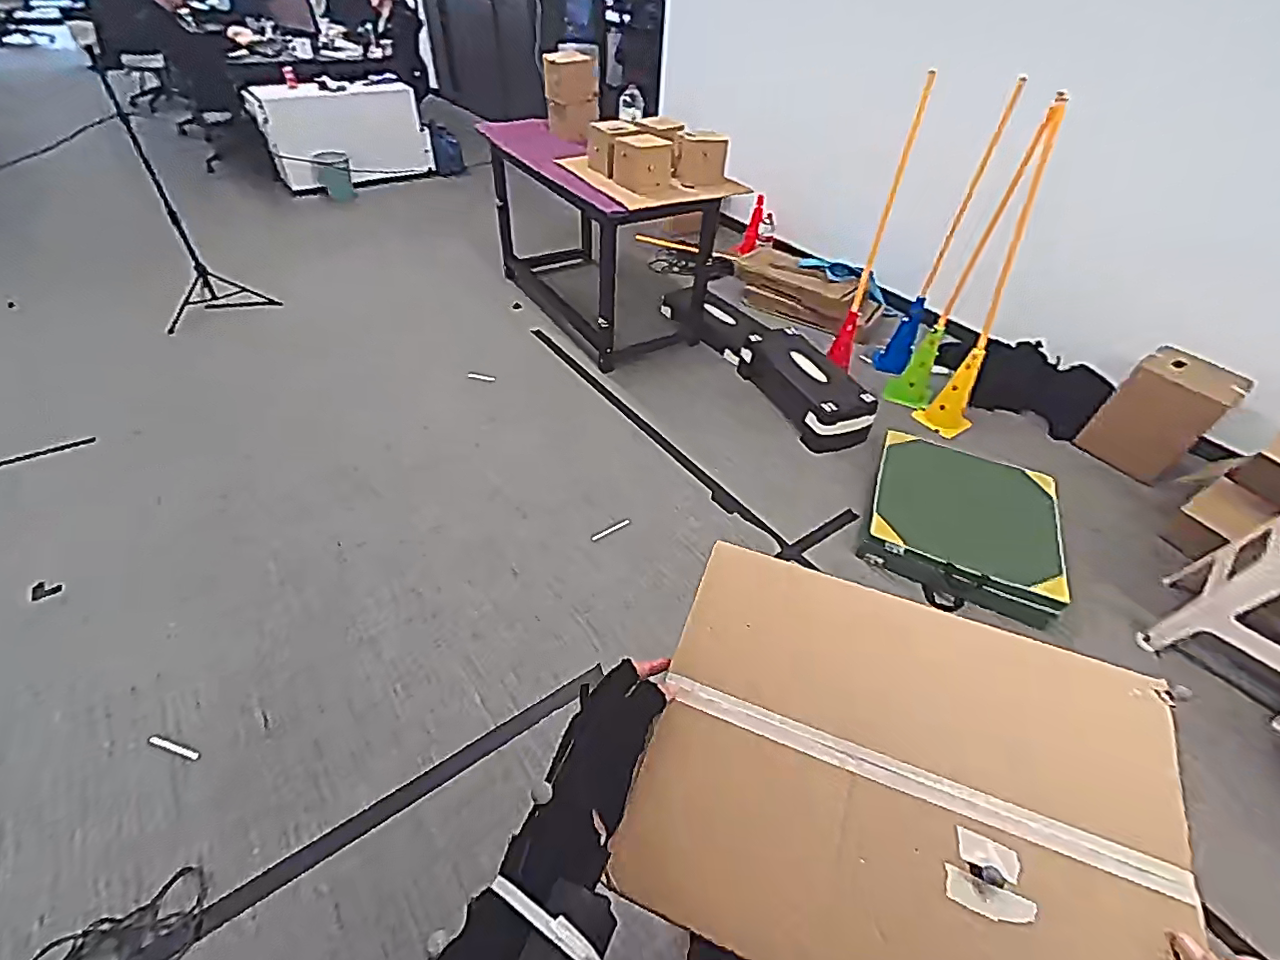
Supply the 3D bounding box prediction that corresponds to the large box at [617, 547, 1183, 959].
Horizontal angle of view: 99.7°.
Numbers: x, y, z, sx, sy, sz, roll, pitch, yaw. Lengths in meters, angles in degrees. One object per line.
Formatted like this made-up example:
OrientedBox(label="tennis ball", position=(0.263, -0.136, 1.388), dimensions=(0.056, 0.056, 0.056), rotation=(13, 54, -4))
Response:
OrientedBox(label="large box", position=(0.222, 0.325, 0.579), dimensions=(0.408, 0.320, 0.320), rotation=(17, 59, 14))
